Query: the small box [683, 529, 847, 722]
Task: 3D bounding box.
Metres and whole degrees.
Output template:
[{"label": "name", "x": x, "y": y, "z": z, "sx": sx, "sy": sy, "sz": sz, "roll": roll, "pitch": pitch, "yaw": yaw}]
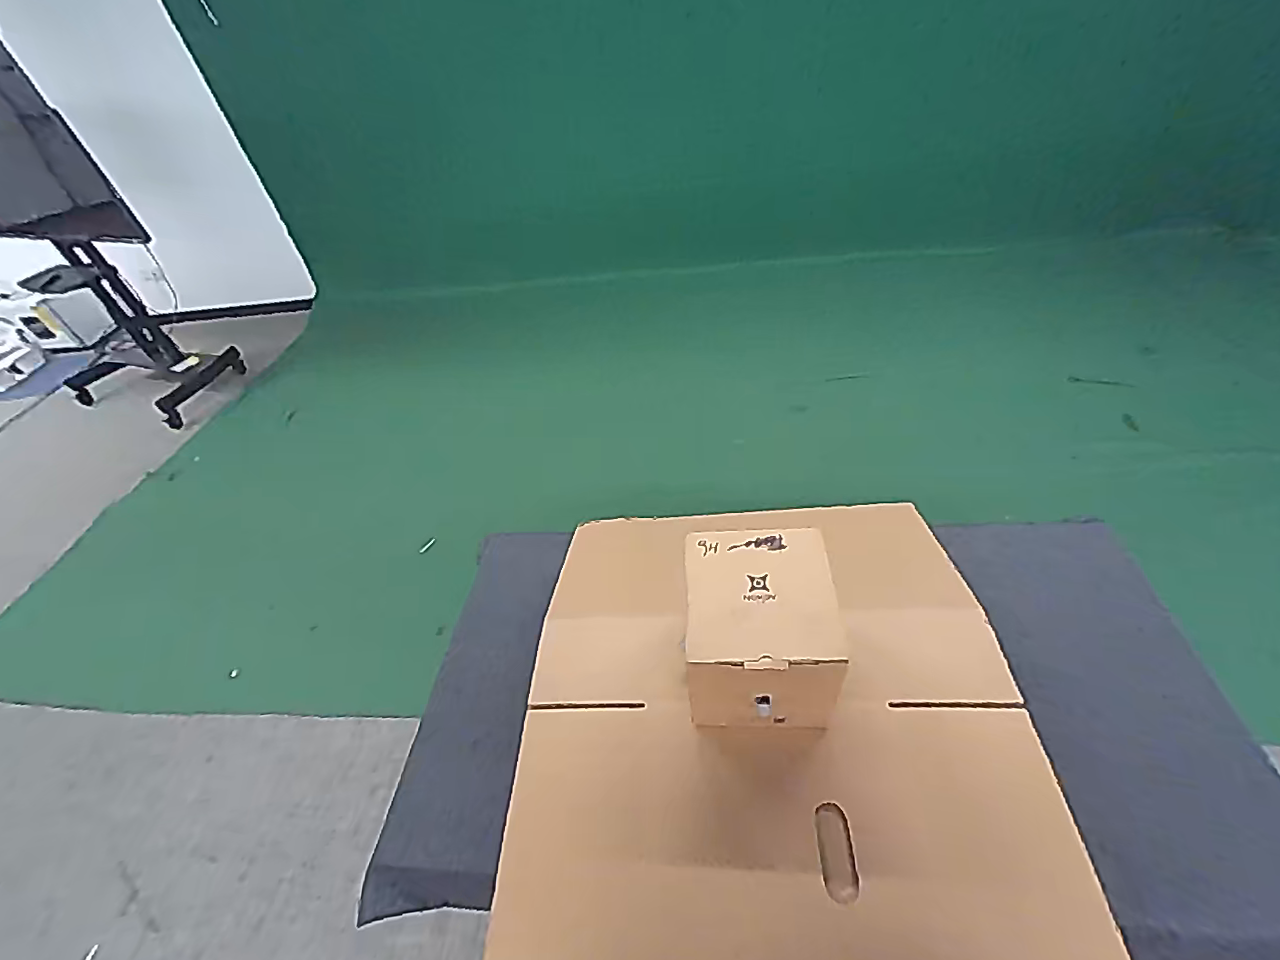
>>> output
[{"label": "small box", "x": 0.144, "y": 0.184, "z": 0.664, "sx": 0.168, "sy": 0.176, "sz": 0.179, "roll": -5, "pitch": 44, "yaw": 6}]
